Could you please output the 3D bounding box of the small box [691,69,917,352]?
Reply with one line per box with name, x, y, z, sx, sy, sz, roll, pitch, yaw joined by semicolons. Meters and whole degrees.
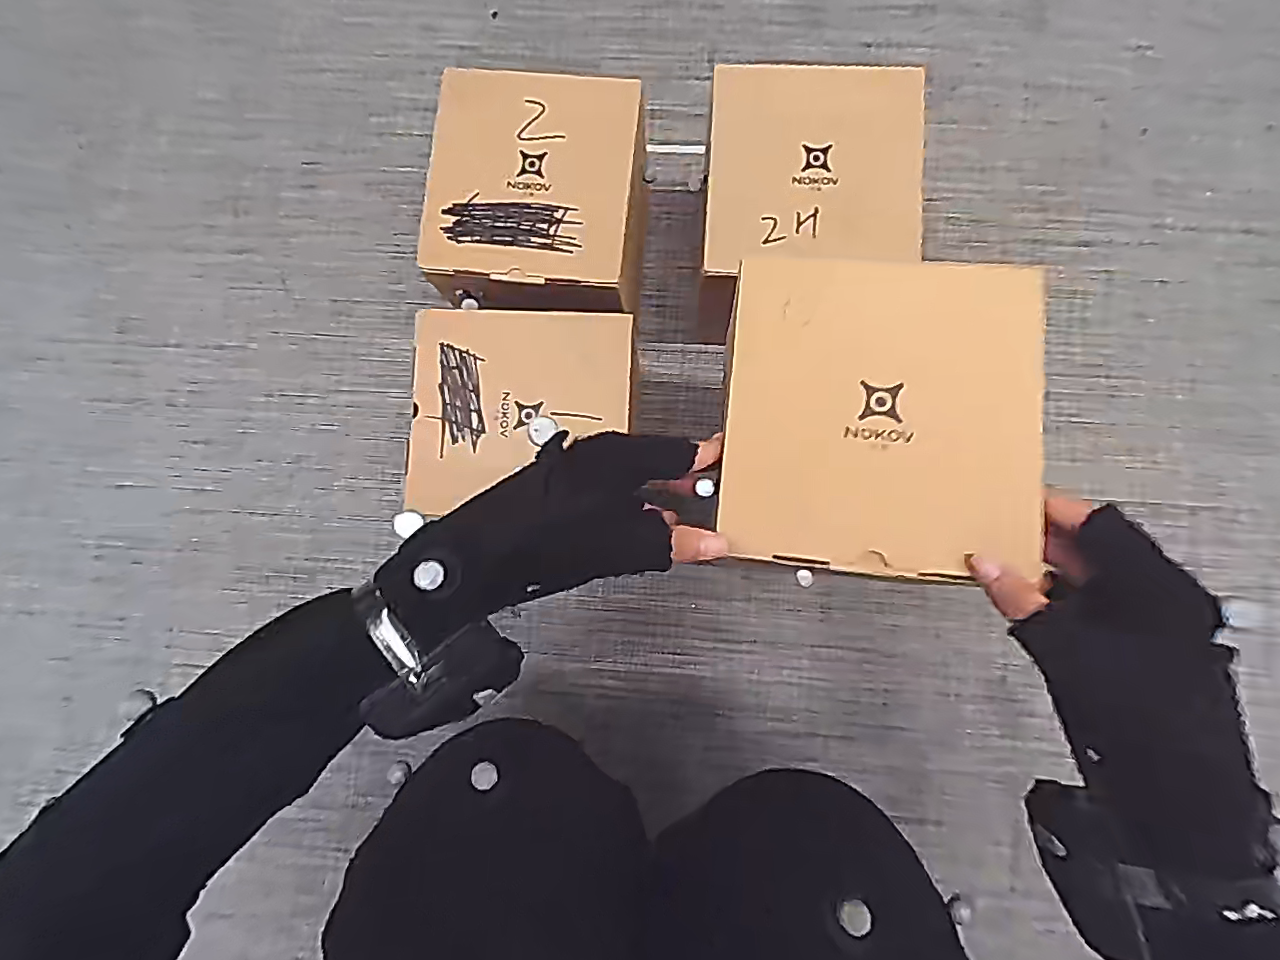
small box;0.137;-0.235;0.506;0.168;0.176;0.179;3;86;4
